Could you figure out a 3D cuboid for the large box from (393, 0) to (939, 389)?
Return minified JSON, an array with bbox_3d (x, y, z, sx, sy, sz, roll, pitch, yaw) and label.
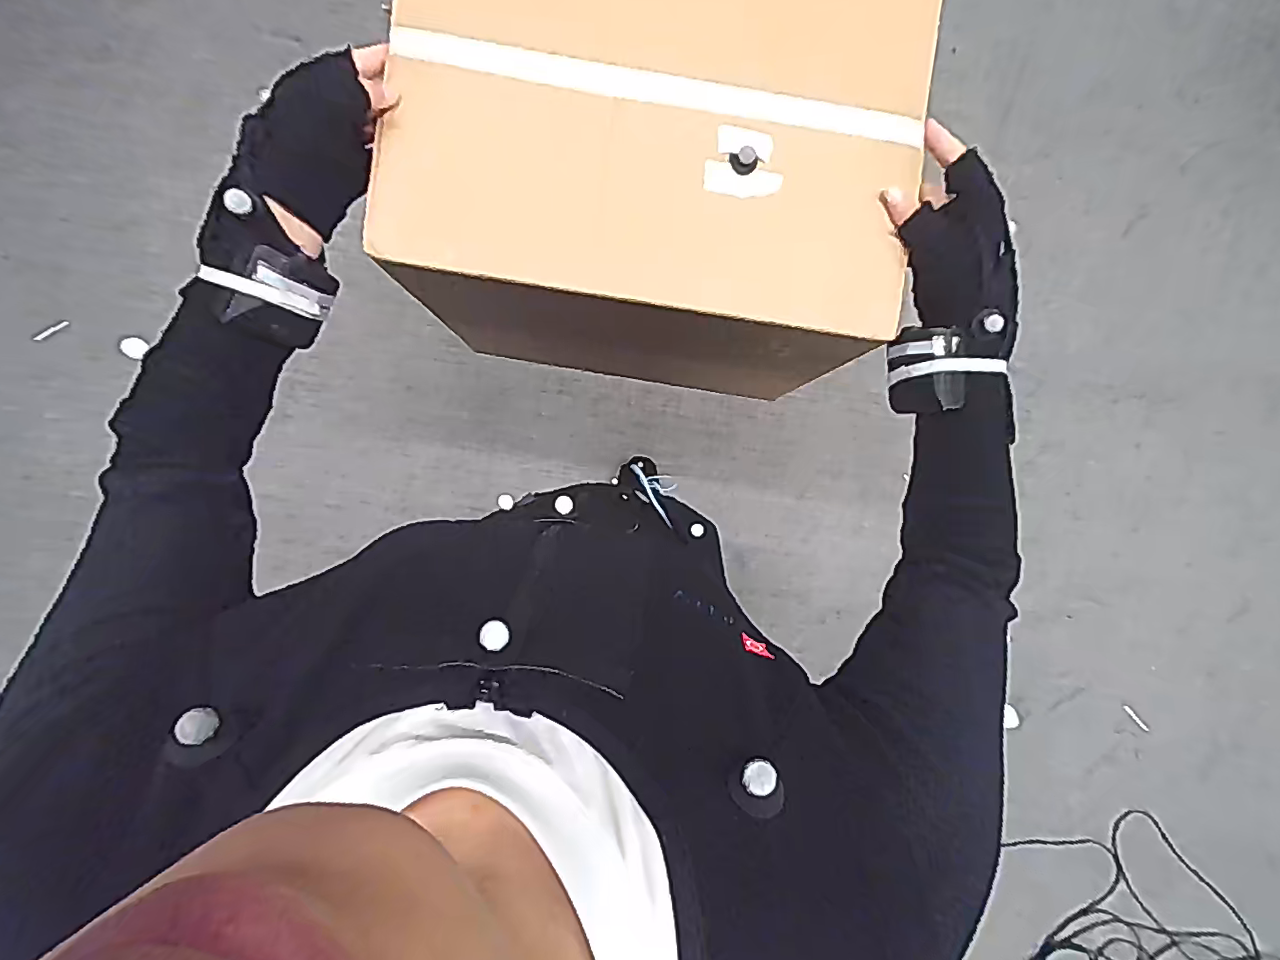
[{"bbox_3d":[0.018,-0.295,0.567,0.408,0.320,0.320,8,90,-3],"label":"large box"}]
